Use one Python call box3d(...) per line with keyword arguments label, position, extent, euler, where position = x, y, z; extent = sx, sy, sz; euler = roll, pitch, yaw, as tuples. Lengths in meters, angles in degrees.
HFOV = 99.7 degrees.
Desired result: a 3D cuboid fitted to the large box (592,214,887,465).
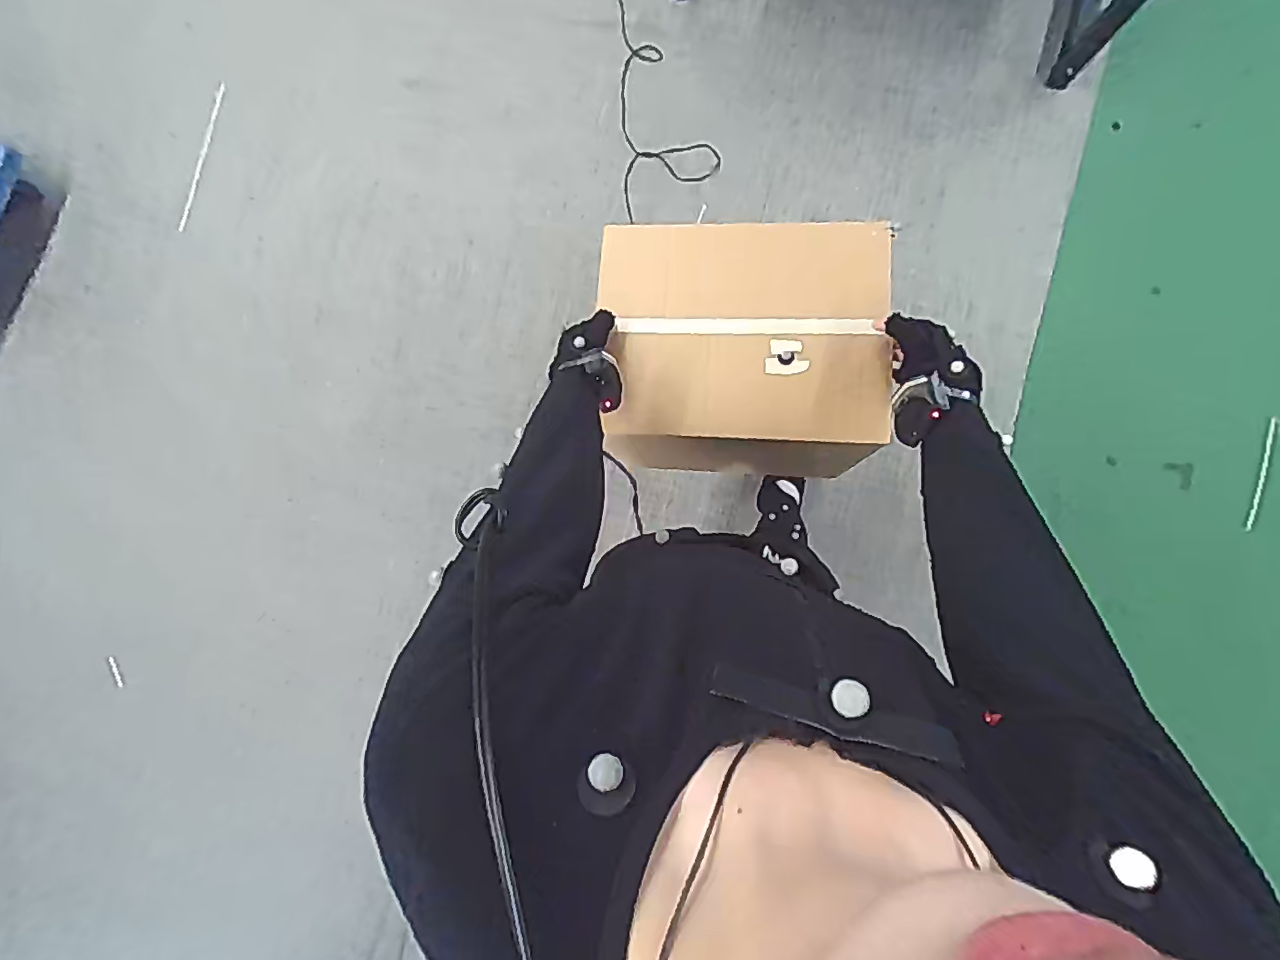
box3d(label="large box", position=(0.150, -0.205, 0.898), extent=(0.408, 0.320, 0.320), euler=(3, 83, 6))
